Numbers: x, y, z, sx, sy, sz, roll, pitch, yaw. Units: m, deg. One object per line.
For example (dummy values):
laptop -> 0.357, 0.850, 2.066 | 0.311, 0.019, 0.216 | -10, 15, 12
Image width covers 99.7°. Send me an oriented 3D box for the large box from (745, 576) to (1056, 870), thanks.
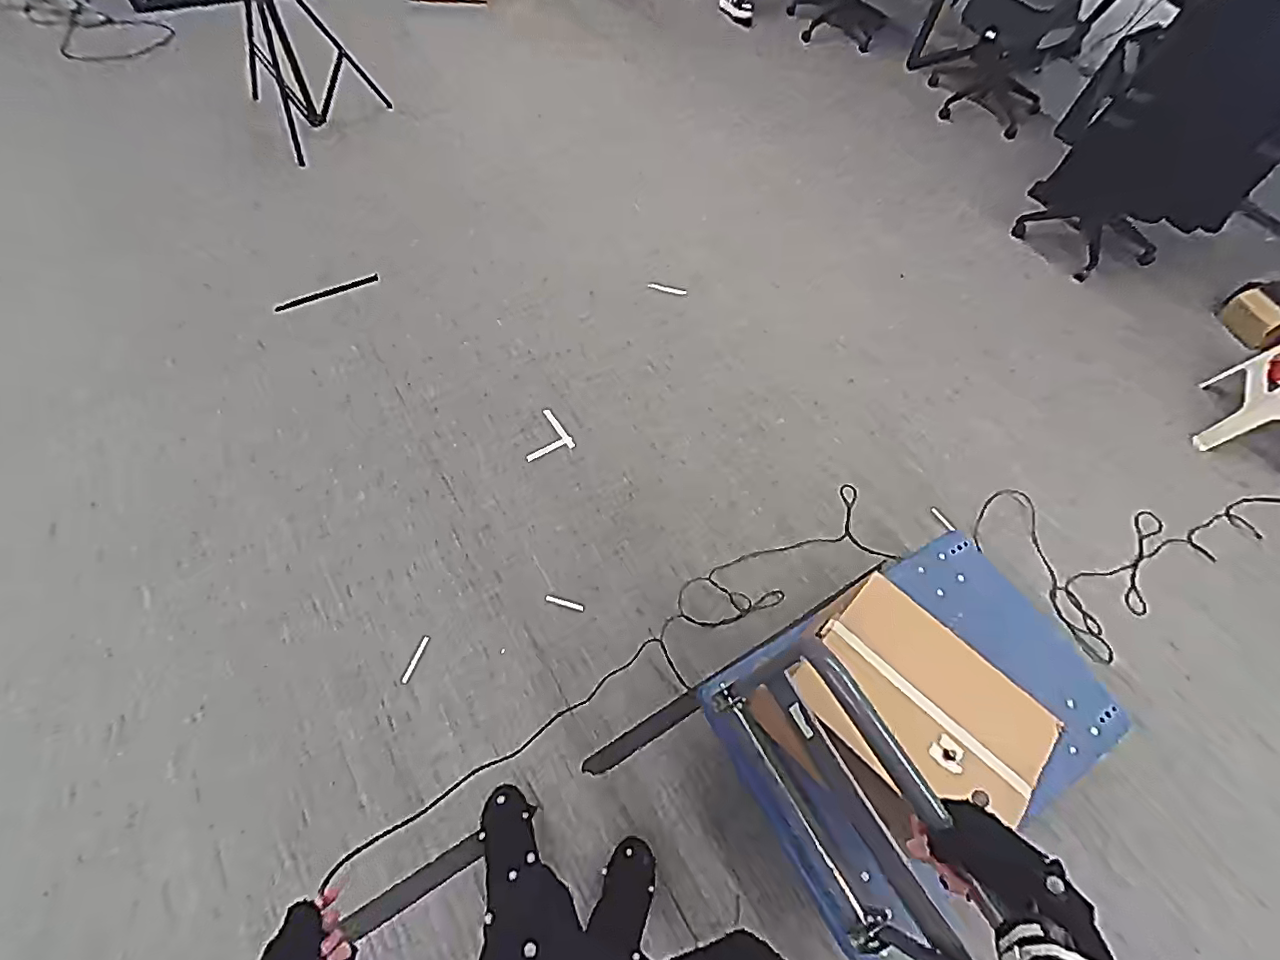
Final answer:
large box -> 0.490, 0.474, 1.093 | 0.408, 0.320, 0.320 | 42, 65, 17
